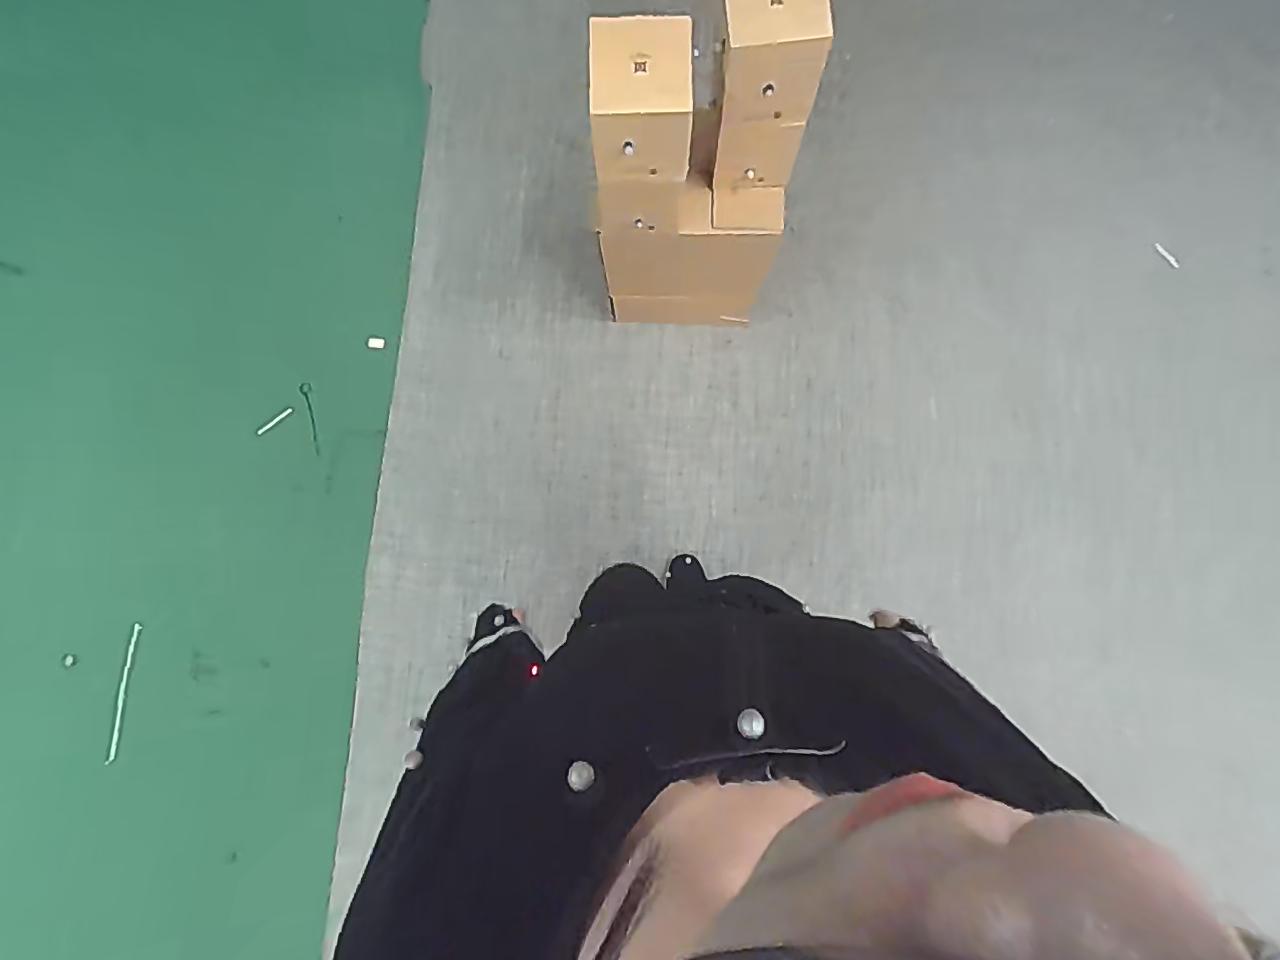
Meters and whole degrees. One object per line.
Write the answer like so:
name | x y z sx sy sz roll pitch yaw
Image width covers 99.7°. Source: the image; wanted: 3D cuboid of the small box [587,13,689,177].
small box | 0.000 -0.658 0.945 0.168 0.176 0.179 -1 84 1

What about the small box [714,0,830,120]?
small box | 0.223 -0.769 0.952 0.168 0.176 0.179 -3 81 2
